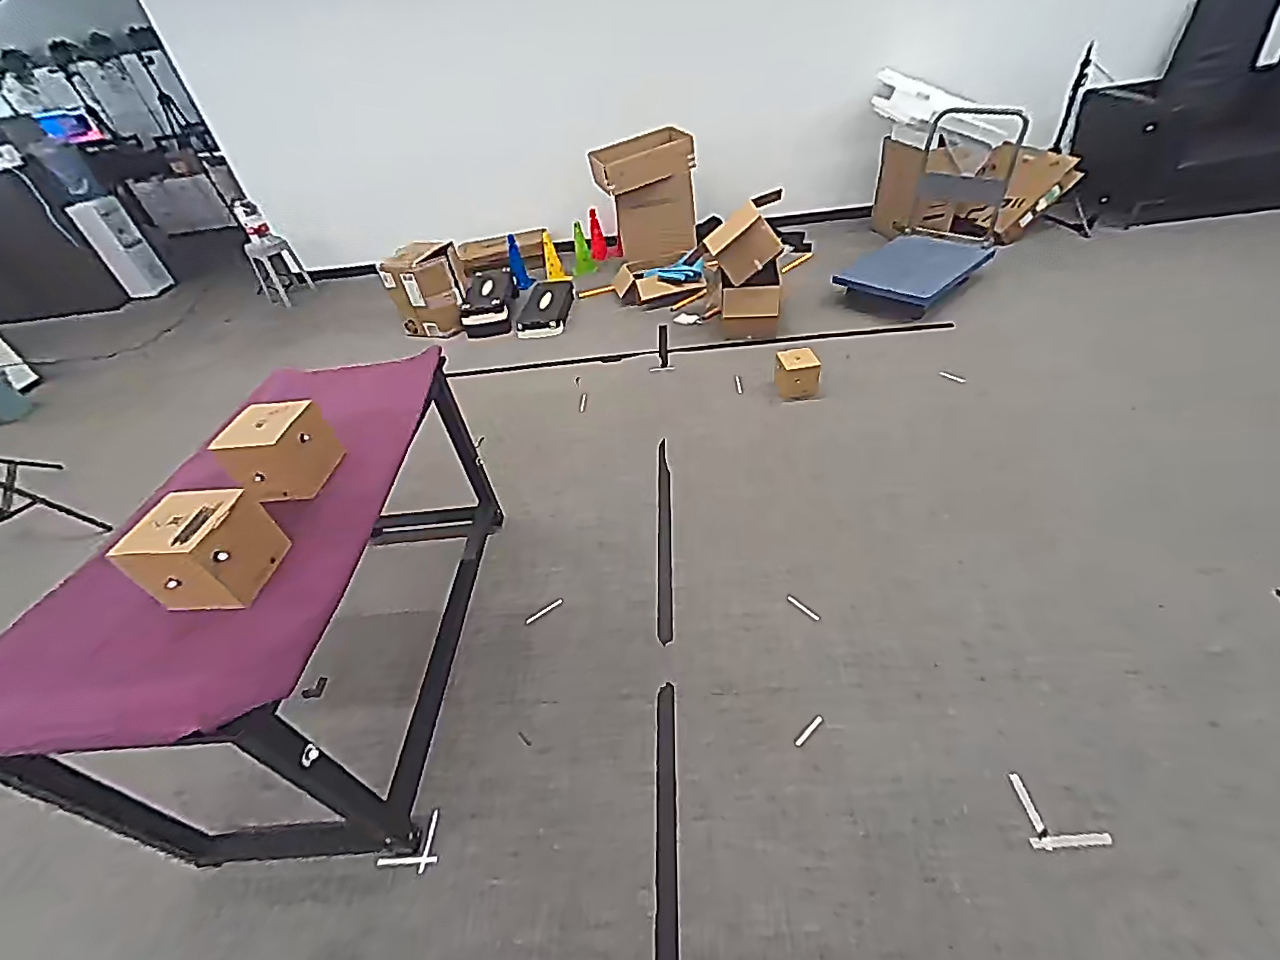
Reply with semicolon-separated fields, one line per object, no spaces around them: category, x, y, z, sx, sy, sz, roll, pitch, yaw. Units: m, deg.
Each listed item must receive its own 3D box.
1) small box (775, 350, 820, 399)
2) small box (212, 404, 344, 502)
small box;0.763;-0.507;2.636;0.168;0.176;0.179;-9;40;0
small box;-0.848;-0.059;1.291;0.168;0.176;0.179;-3;41;6
